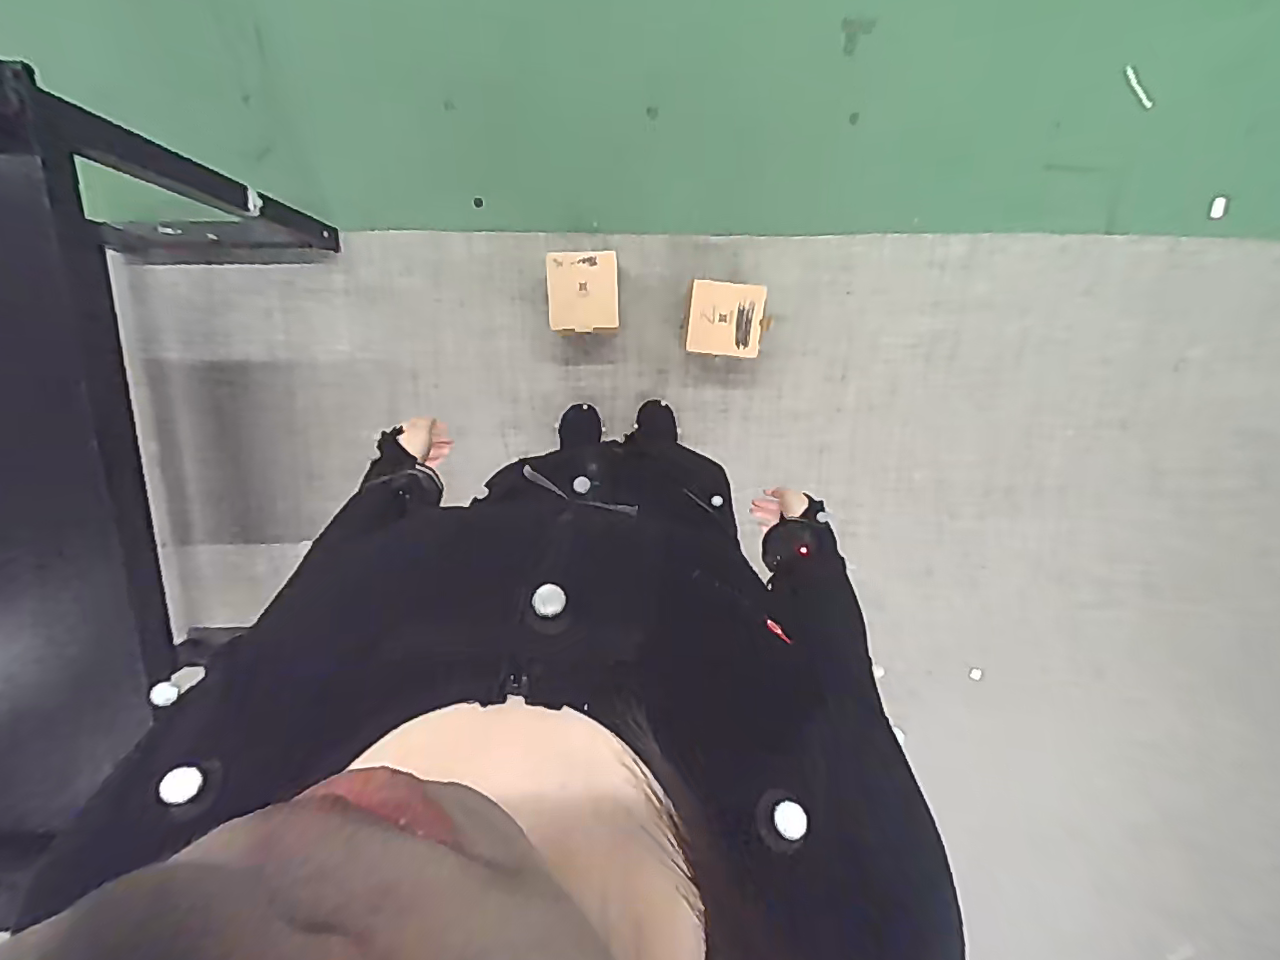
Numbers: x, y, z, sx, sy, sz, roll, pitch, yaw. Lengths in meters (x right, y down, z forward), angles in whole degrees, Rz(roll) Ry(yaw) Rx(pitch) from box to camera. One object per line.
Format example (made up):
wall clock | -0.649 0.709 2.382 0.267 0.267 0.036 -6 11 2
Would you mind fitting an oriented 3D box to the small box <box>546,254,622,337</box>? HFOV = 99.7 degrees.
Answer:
small box | -0.131 -0.444 1.323 0.168 0.176 0.179 -2 102 1
